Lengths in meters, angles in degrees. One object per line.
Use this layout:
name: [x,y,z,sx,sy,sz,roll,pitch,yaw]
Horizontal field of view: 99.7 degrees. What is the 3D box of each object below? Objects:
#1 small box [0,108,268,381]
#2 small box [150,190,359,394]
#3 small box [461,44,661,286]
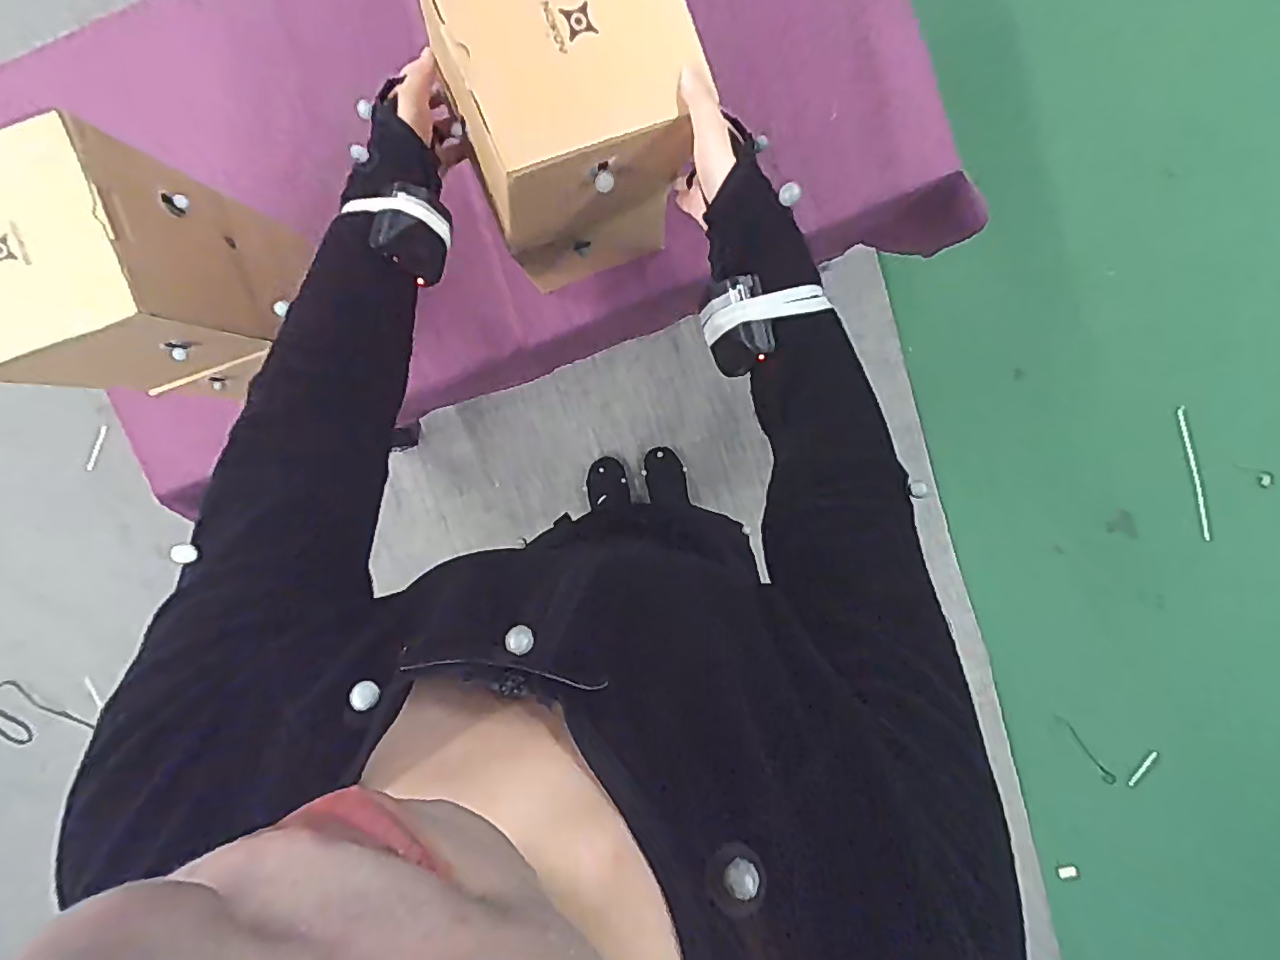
small box: [-0.498,-0.199,0.512,0.179,0.176,0.168,-16,95,4]
small box: [-0.493,-0.217,0.675,0.168,0.176,0.179,-18,95,4]
small box: [-0.080,-0.353,0.646,0.179,0.176,0.168,-19,96,3]
